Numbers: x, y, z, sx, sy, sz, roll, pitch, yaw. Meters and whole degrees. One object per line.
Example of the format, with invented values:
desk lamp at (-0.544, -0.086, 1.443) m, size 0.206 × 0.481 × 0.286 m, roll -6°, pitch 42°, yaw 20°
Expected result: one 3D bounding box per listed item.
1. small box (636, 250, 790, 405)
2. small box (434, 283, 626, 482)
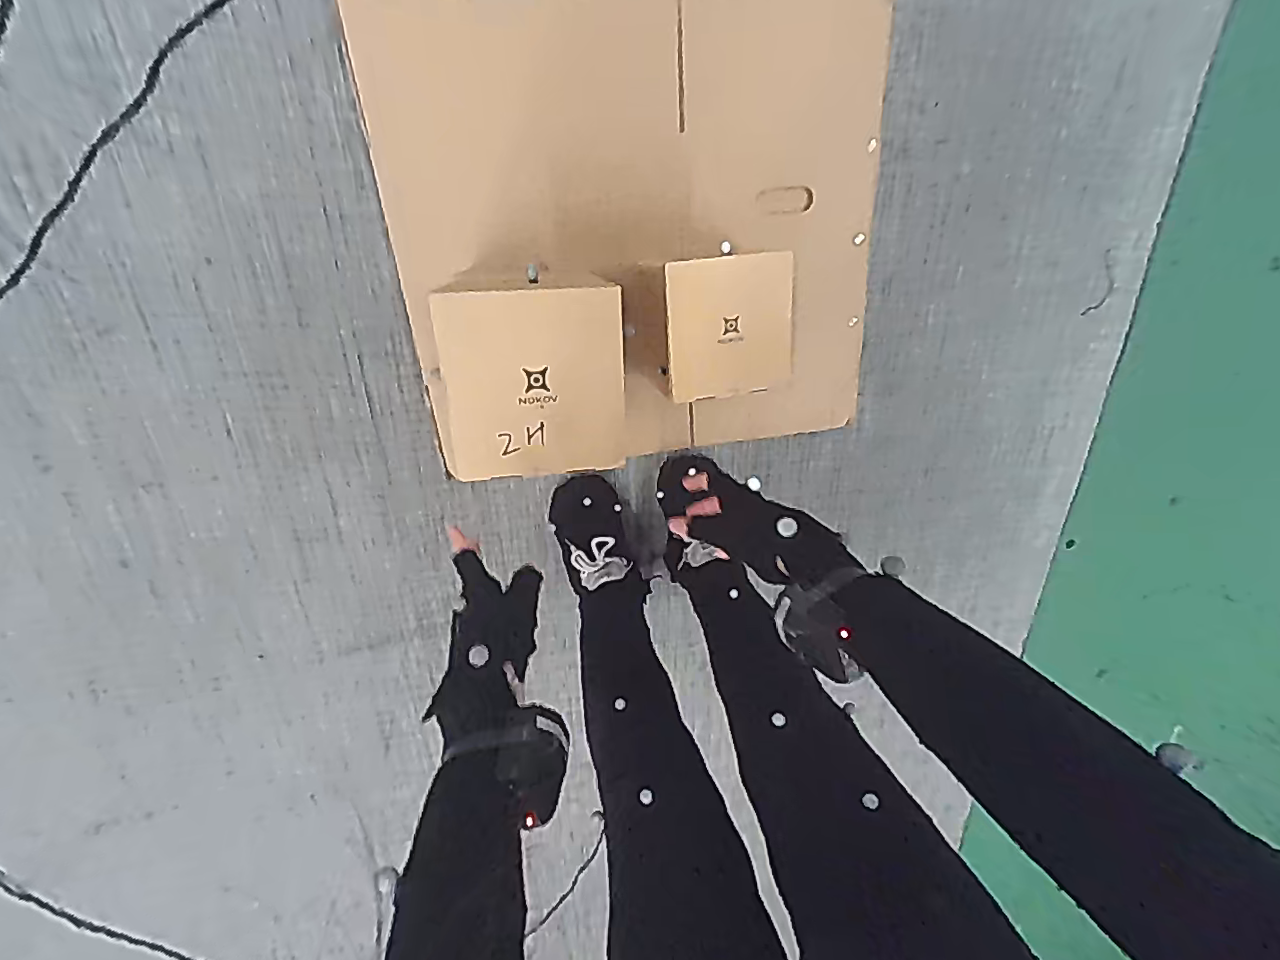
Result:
small box at (0.095, -0.220, 0.757) m, size 0.168 × 0.176 × 0.179 m, roll -10°, pitch 115°, yaw -9°
small box at (-0.110, -0.114, 0.572) m, size 0.168 × 0.176 × 0.179 m, roll -5°, pitch 114°, yaw -9°
